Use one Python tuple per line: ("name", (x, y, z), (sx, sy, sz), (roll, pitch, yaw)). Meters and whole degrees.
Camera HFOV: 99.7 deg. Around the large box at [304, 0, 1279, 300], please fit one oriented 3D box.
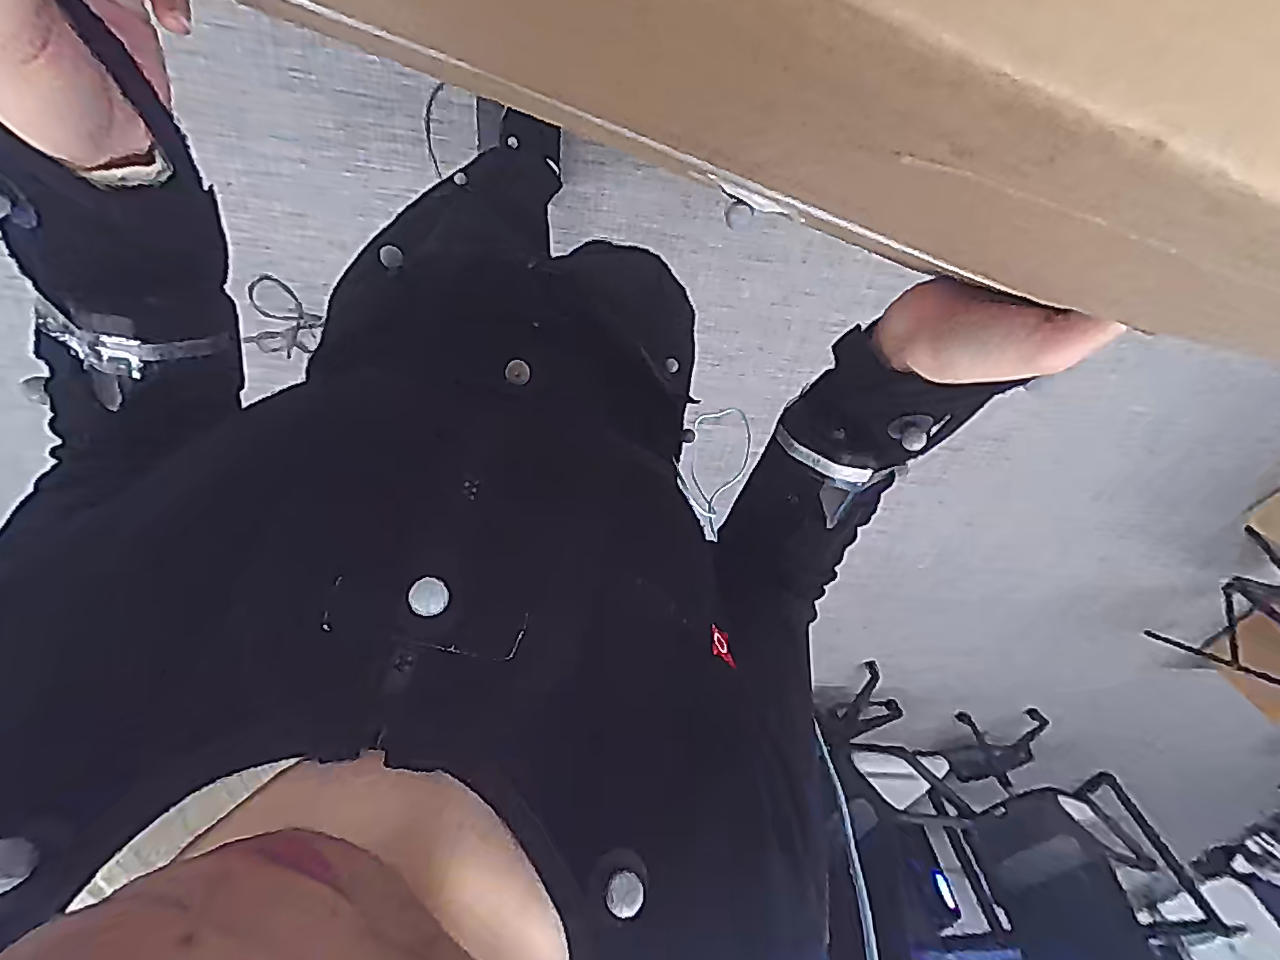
("large box", (0.035, -0.266, 0.111), (0.408, 0.320, 0.320), (16, 117, -8))
